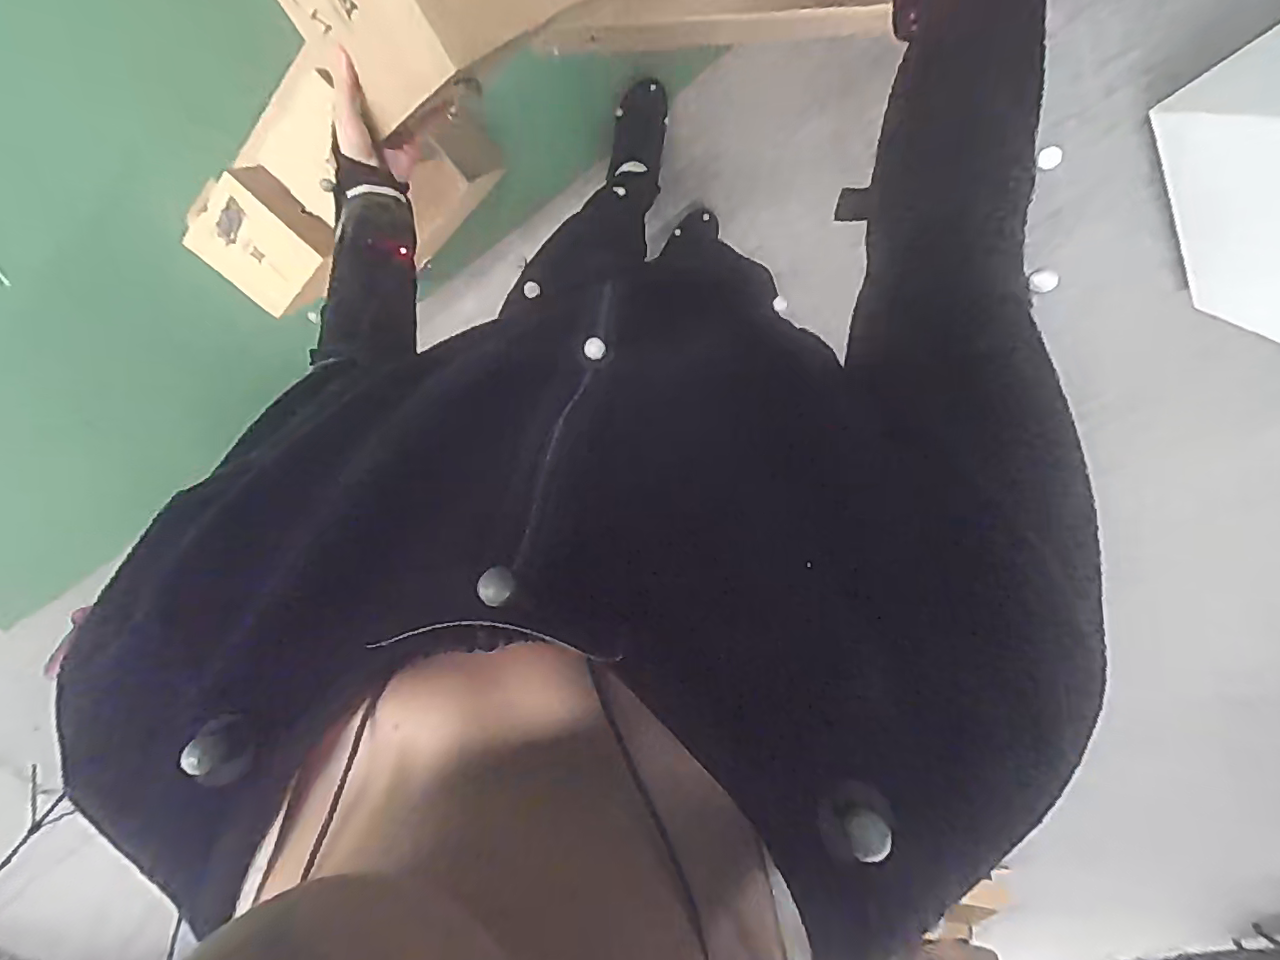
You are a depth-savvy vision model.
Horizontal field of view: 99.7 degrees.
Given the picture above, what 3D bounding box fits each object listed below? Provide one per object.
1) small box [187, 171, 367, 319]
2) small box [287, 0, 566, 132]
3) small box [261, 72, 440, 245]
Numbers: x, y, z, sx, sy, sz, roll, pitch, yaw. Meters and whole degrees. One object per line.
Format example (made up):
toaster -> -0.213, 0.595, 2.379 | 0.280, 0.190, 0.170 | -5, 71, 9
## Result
small box -> -0.641, -0.429, 0.976 | 0.168, 0.176, 0.179 | -34, 117, 24
small box -> -0.187, -0.443, 0.459 | 0.179, 0.176, 0.168 | 10, 143, 45
small box -> -0.465, -0.529, 0.895 | 0.179, 0.176, 0.168 | -34, 118, 24
